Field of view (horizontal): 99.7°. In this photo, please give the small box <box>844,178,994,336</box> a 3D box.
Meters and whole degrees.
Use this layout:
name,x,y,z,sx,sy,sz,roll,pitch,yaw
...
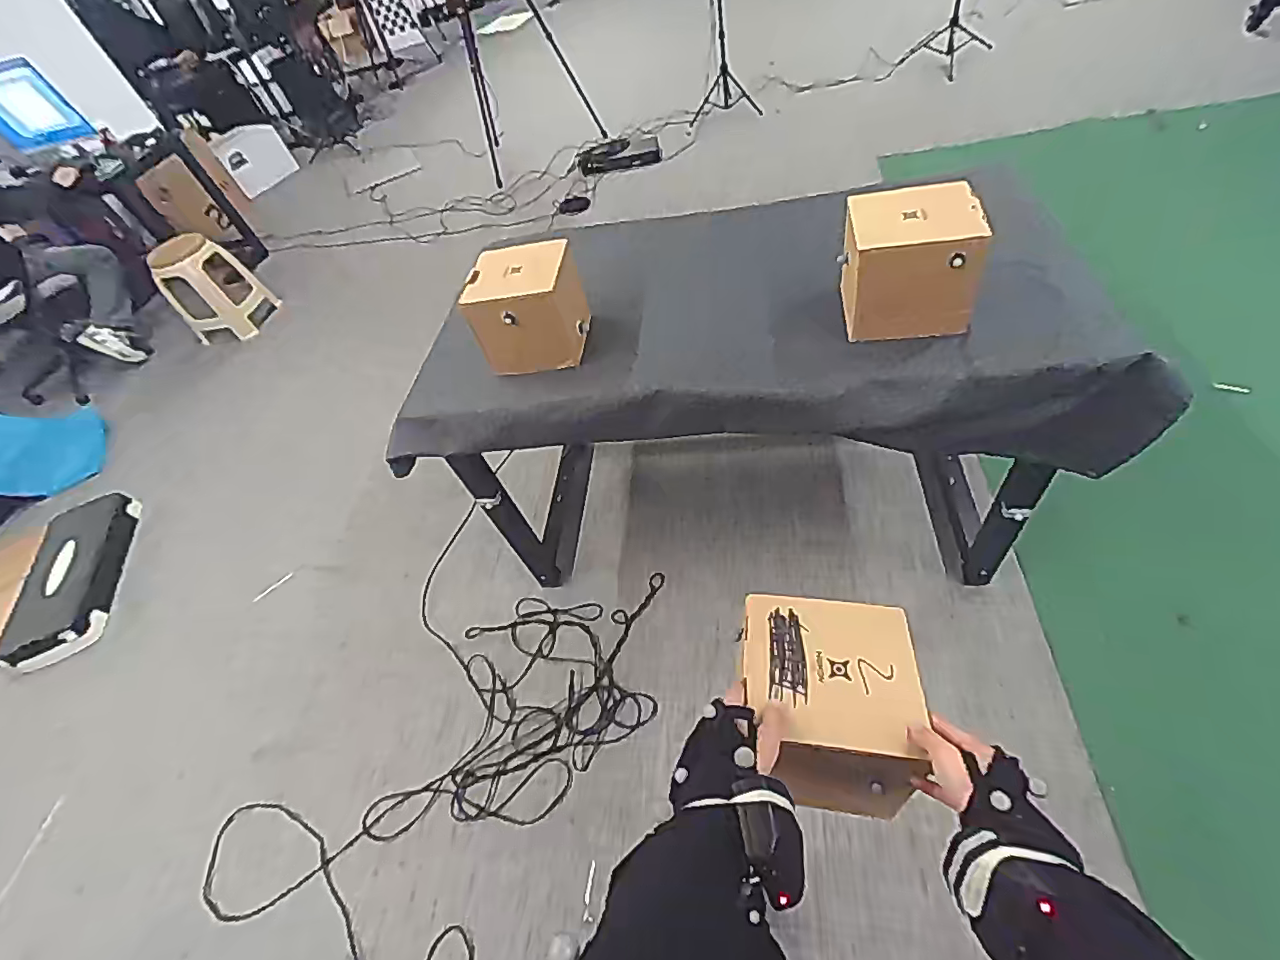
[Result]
name,x,y,z,sx,sy,sz,roll,pitch,yaw
small box,0.424,-0.346,0.858,0.179,0.176,0.168,-1,52,14

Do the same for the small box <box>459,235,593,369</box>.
name,x,y,z,sx,sy,sz,roll,pitch,yaw
small box,-0.201,-0.324,1.006,0.179,0.176,0.168,-3,53,11
